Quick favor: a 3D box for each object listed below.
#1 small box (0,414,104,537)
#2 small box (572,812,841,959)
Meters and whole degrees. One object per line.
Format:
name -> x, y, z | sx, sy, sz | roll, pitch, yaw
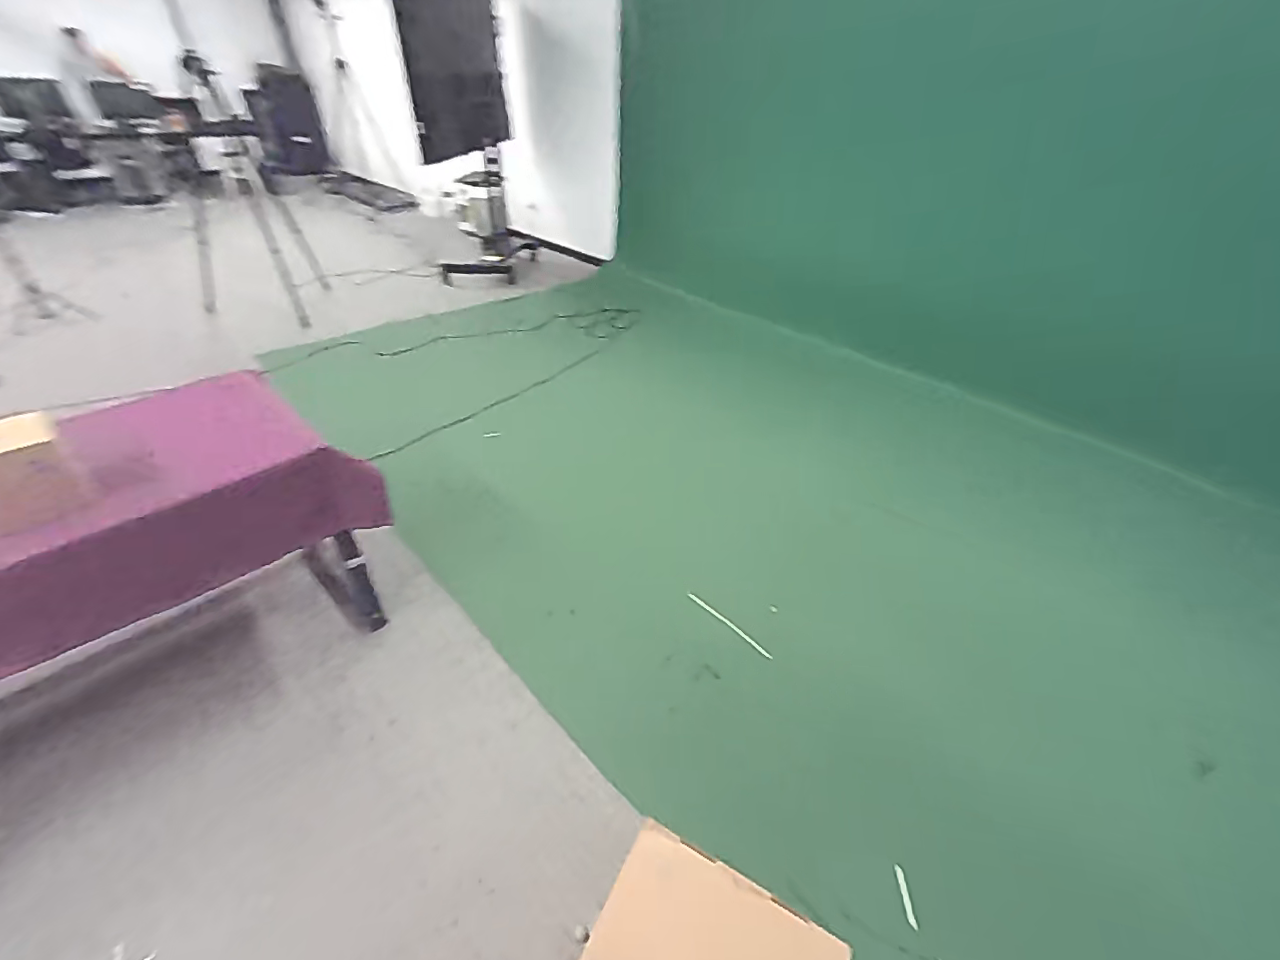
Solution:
small box -> -1.298, -0.013, 1.152 | 0.168, 0.176, 0.179 | 30, 45, 33
small box -> 0.026, 0.402, 0.409 | 0.168, 0.176, 0.179 | 24, 48, 17
